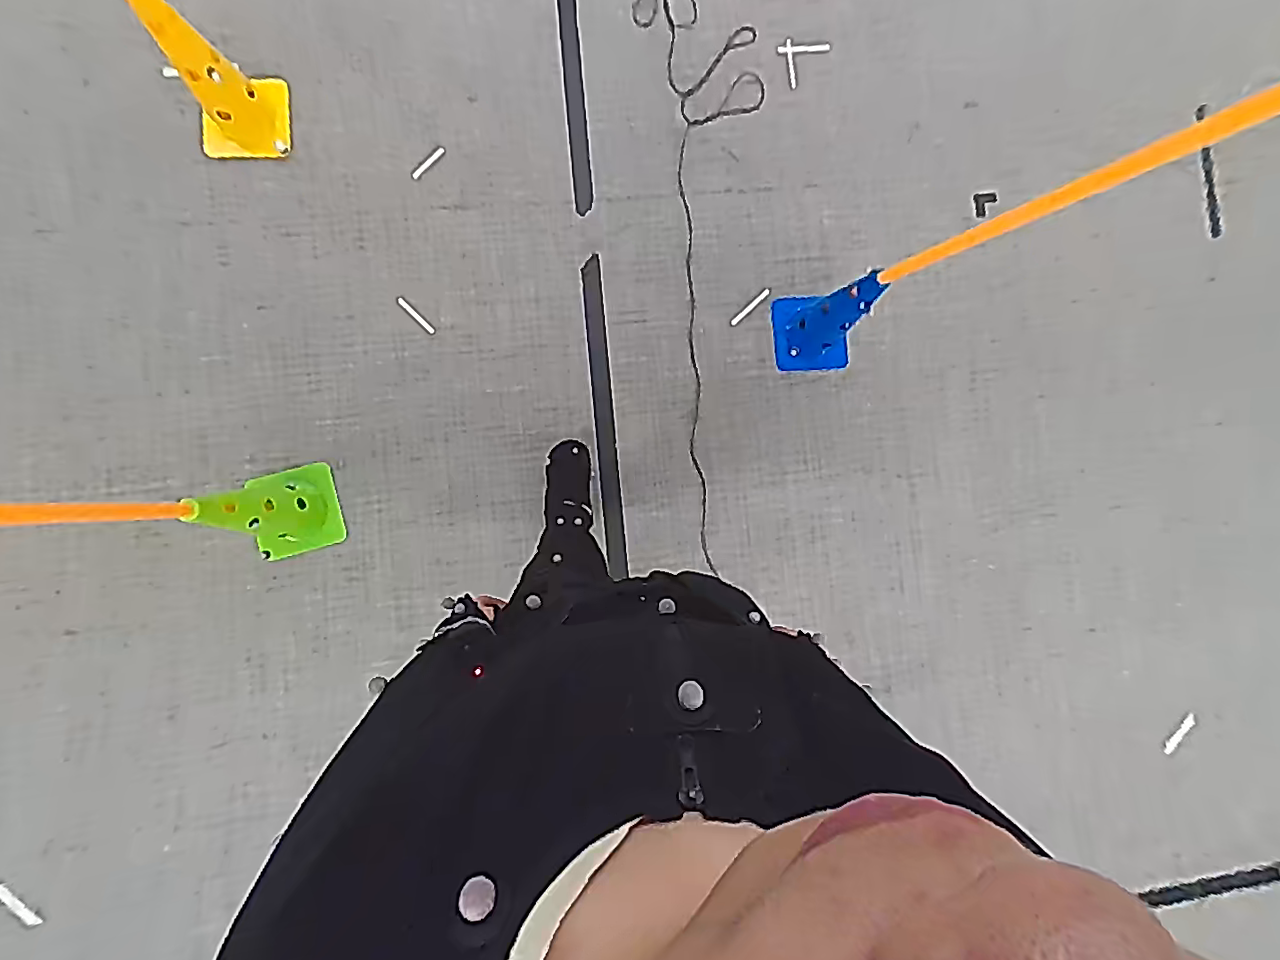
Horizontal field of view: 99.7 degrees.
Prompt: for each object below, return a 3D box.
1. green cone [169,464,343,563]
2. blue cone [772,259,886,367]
[{"bbox_3d":[-0.804,0.063,1.109,0.200,0.368,0.202,-16,86,-7],"label":"green cone"},{"bbox_3d":[0.466,-0.407,1.279,0.193,0.380,0.192,-3,86,-6],"label":"blue cone"}]
